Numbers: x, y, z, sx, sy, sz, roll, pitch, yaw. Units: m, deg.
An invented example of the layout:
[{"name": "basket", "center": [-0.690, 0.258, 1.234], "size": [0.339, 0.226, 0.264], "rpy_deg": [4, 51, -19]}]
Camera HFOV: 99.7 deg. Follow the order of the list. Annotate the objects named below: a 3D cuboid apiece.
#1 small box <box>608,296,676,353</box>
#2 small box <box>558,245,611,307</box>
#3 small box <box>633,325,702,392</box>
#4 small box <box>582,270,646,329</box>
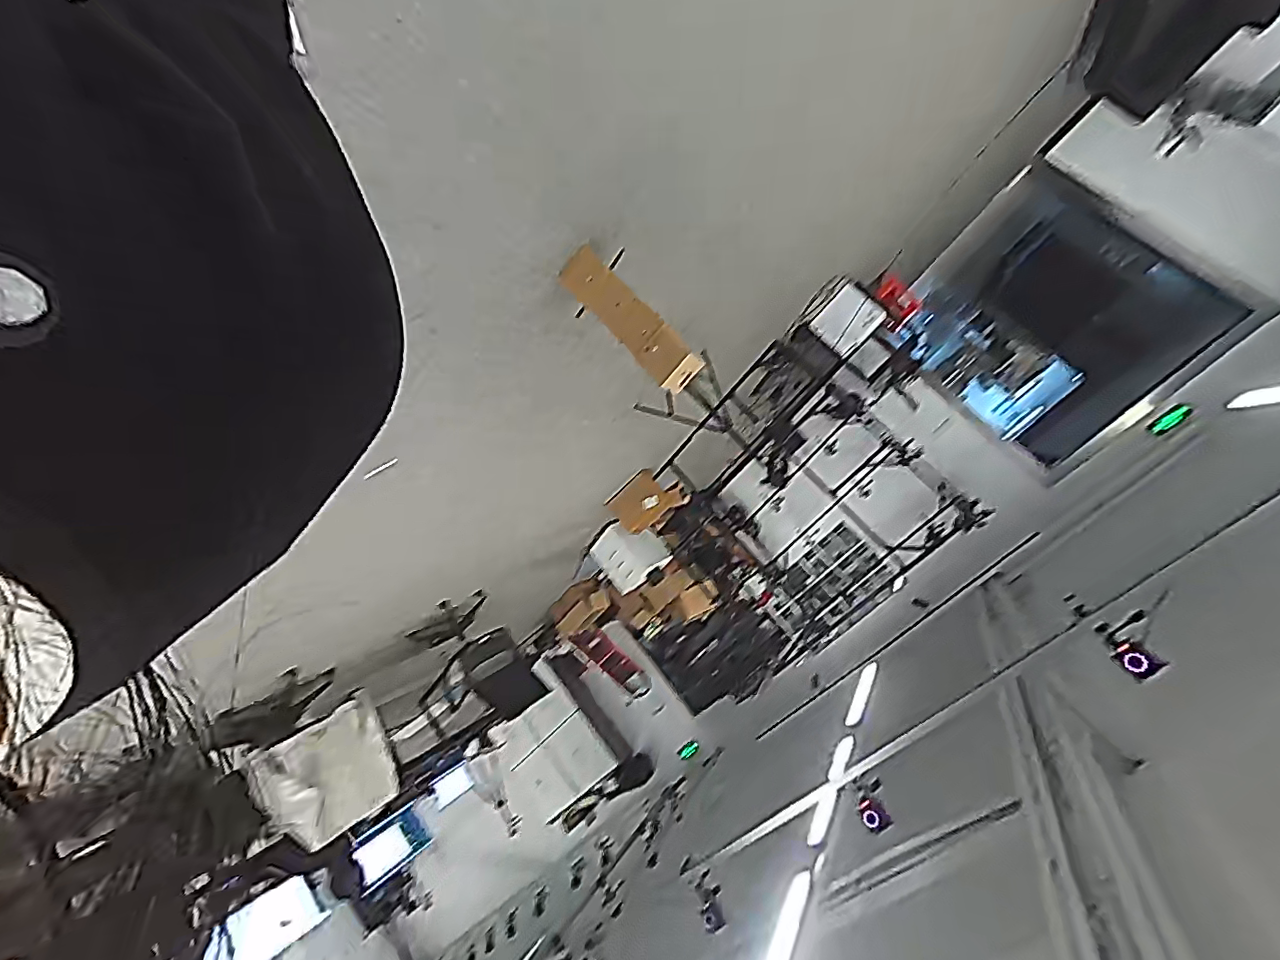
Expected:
[{"name": "small box", "center": [0.008, -0.595, 2.139], "size": [0.179, 0.176, 0.168], "rpy_deg": [-47, 161, 15]}, {"name": "small box", "center": [-0.211, -0.823, 2.222], "size": [0.179, 0.176, 0.168], "rpy_deg": [-48, 162, 16]}, {"name": "small box", "center": [0.104, -0.471, 2.090], "size": [0.168, 0.176, 0.179], "rpy_deg": [-49, 160, 15]}, {"name": "small box", "center": [-0.101, -0.708, 2.180], "size": [0.179, 0.176, 0.168], "rpy_deg": [-47, 161, 12]}]
